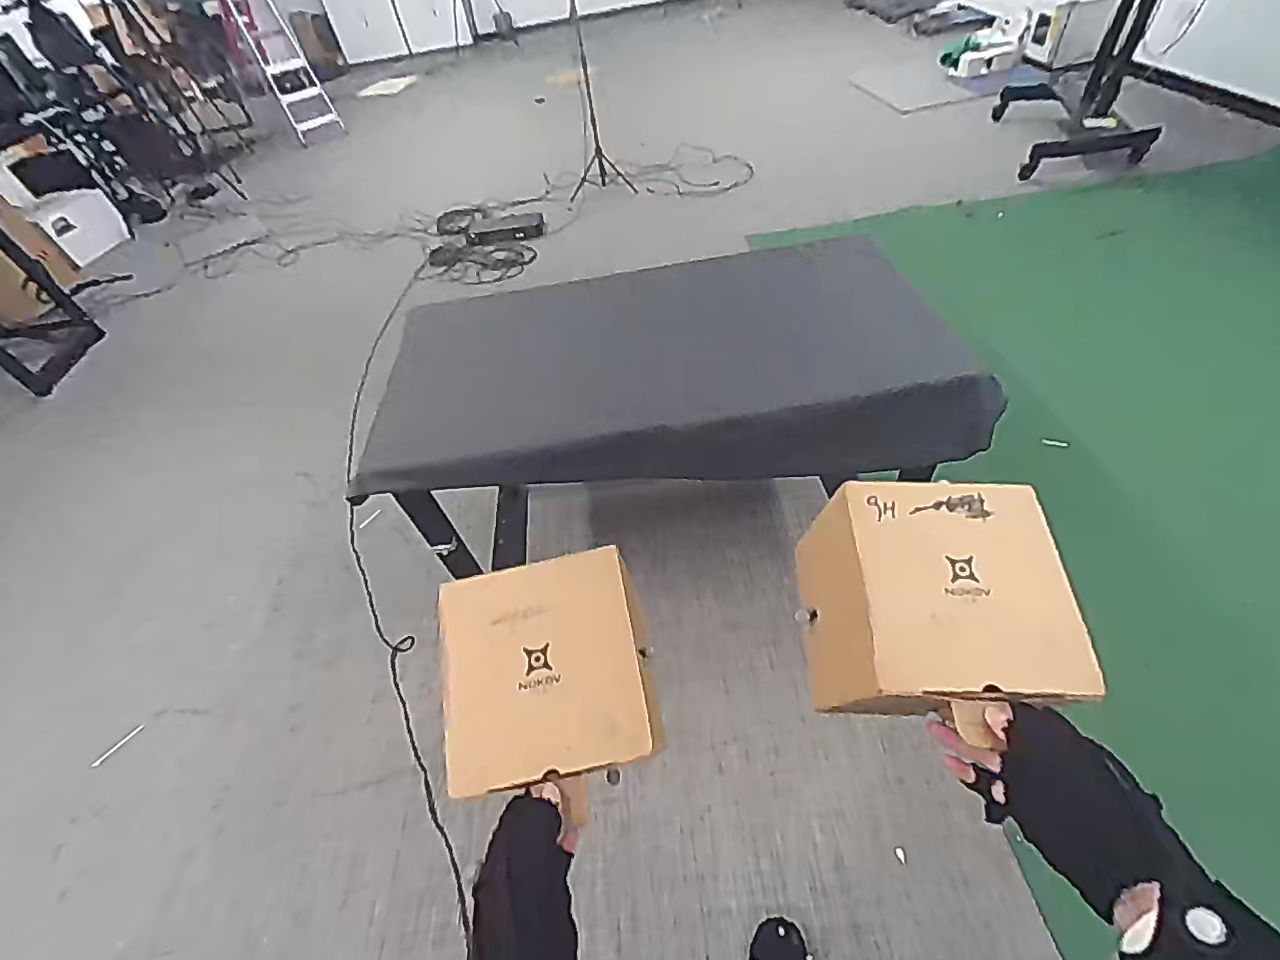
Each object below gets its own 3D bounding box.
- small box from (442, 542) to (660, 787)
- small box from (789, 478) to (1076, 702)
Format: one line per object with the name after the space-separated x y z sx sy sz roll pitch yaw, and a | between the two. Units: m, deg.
-0.079 0.183 0.538 0.168 0.176 0.179 -13 64 0 | small box
0.249 0.112 0.513 0.168 0.176 0.179 1 64 0 | small box
